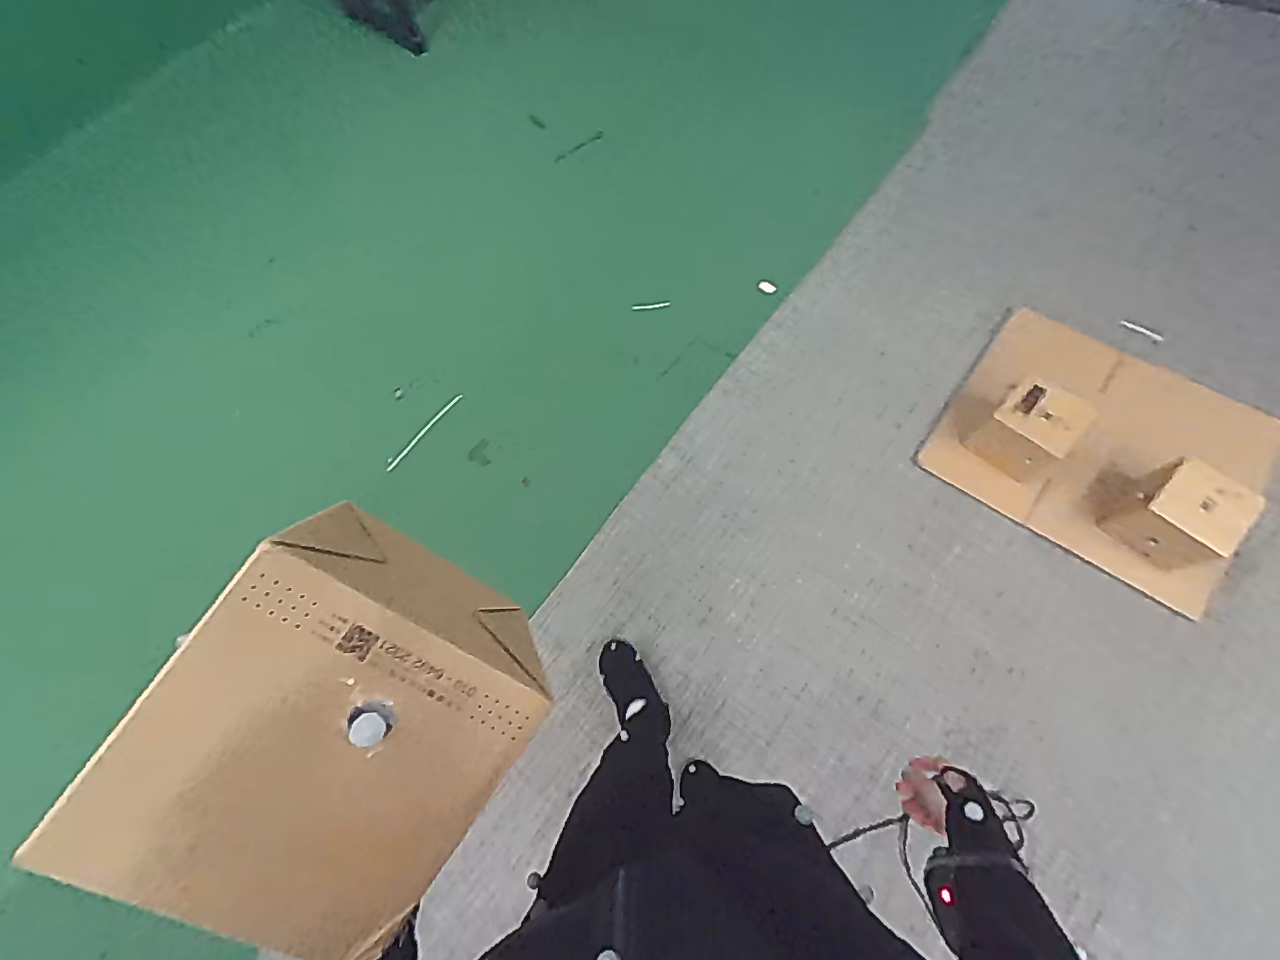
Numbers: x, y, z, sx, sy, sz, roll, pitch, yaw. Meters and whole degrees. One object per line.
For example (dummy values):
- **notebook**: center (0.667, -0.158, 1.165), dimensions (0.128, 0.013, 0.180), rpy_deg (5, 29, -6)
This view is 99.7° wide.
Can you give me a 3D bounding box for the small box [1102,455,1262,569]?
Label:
- **small box**: center (1.222, 0.081, 1.240), dimensions (0.179, 0.176, 0.168), rpy_deg (-44, 71, -11)
